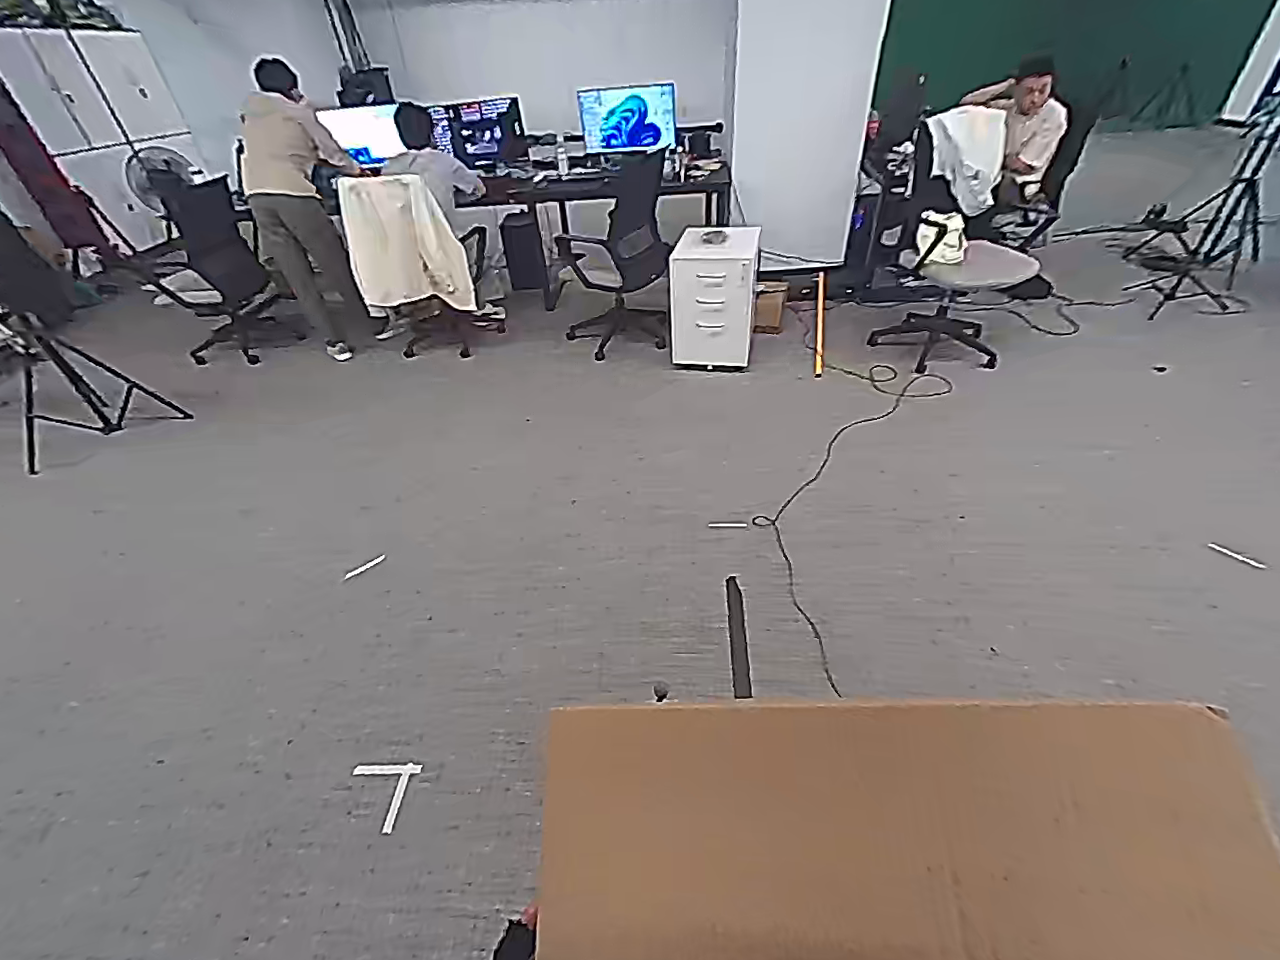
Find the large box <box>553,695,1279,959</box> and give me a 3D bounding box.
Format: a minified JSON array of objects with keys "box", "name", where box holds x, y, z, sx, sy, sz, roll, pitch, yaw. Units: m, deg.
[{"box":[0.165,0.346,0.433,0.408,0.320,0.320,-5,69,9],"name":"large box"}]
